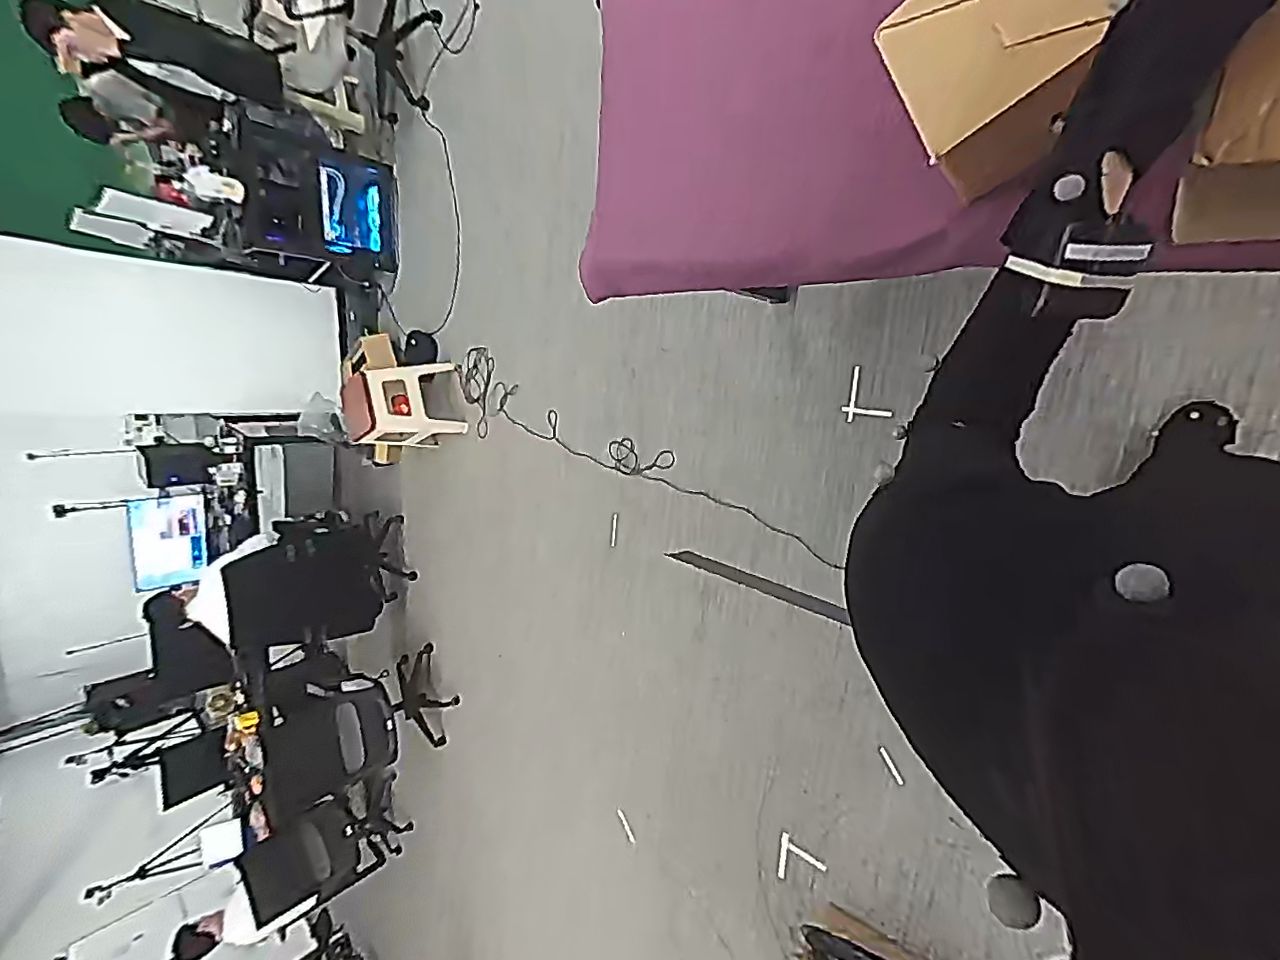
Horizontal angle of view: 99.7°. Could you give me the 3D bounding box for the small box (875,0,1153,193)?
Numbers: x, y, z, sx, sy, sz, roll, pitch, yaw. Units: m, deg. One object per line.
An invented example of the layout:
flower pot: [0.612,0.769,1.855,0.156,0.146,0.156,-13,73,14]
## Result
small box: [0.380,-0.441,0.557,0.179,0.176,0.168,-26,77,43]

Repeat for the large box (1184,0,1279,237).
large box: [0.598,-0.334,0.279,0.408,0.320,0.320,15,110,41]
